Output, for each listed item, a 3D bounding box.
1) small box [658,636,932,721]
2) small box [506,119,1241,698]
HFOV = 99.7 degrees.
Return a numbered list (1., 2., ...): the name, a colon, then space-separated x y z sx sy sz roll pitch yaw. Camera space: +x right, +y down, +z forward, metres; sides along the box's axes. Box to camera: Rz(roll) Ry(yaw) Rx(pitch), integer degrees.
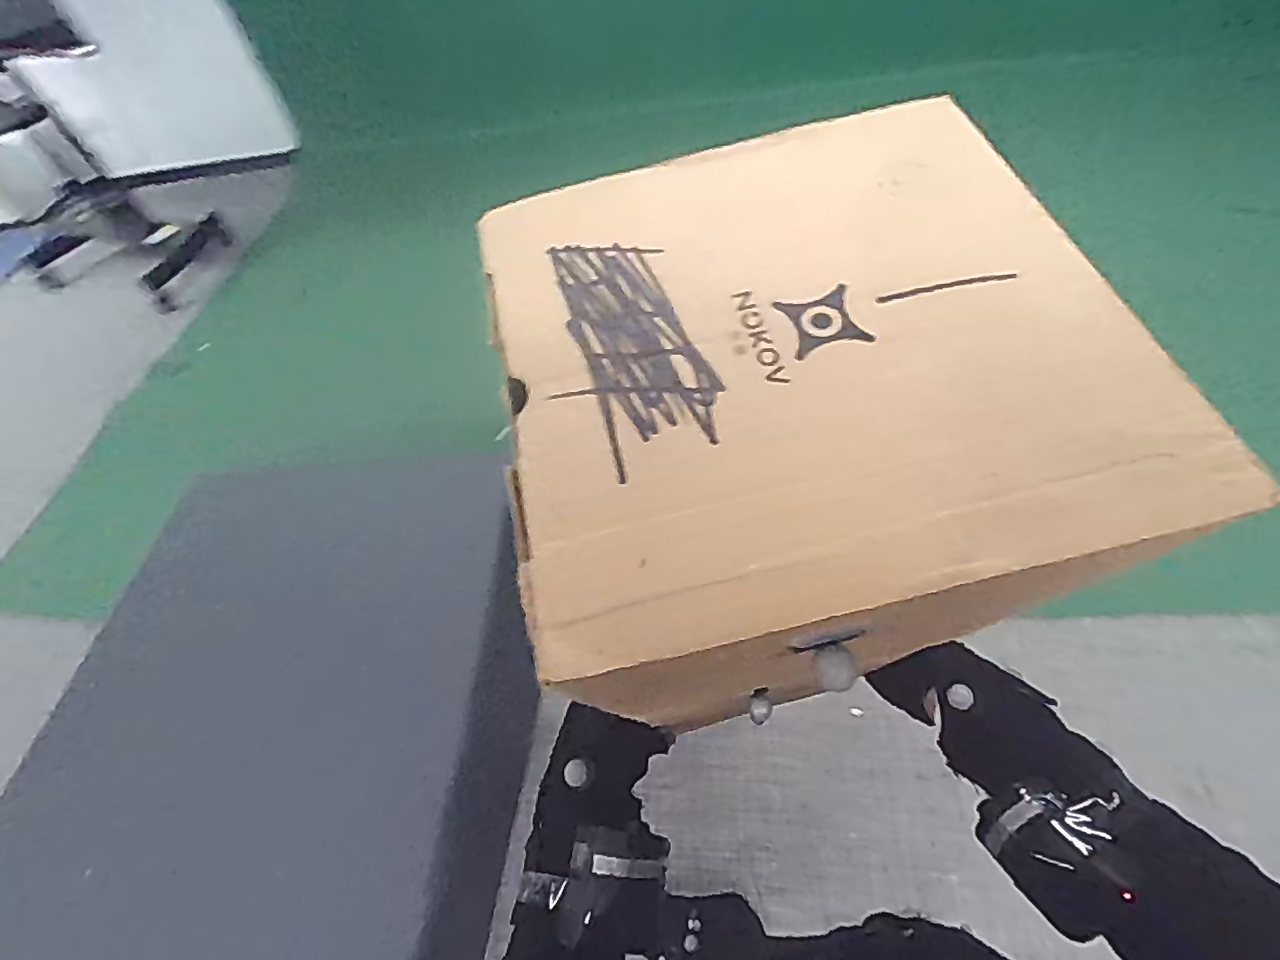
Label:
1. small box: 0.074 0.059 0.390 0.168 0.176 0.179 -16 64 -2
2. small box: 0.057 -0.011 0.239 0.179 0.176 0.168 -13 63 0
